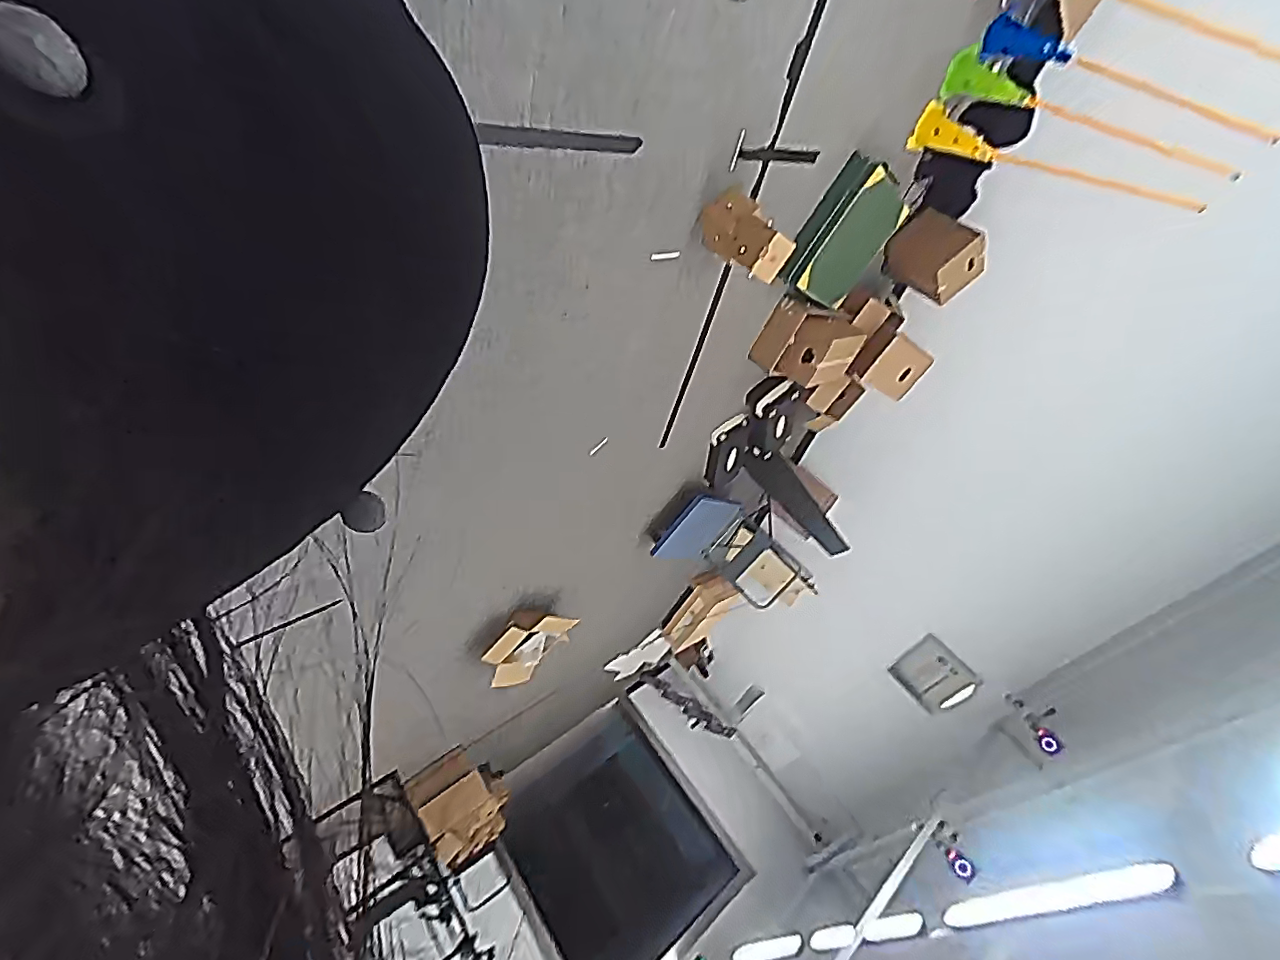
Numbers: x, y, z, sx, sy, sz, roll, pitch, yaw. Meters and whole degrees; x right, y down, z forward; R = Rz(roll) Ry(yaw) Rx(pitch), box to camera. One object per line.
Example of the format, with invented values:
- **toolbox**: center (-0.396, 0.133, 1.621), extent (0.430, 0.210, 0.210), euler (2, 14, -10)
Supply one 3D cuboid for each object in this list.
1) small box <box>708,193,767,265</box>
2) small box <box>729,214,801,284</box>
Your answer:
- **small box**: center (0.384, -0.997, 2.132), extent (0.168, 0.176, 0.179), euler (-40, 154, -5)
- **small box**: center (0.472, -0.880, 2.054), extent (0.179, 0.176, 0.168), euler (-3, 135, -53)
